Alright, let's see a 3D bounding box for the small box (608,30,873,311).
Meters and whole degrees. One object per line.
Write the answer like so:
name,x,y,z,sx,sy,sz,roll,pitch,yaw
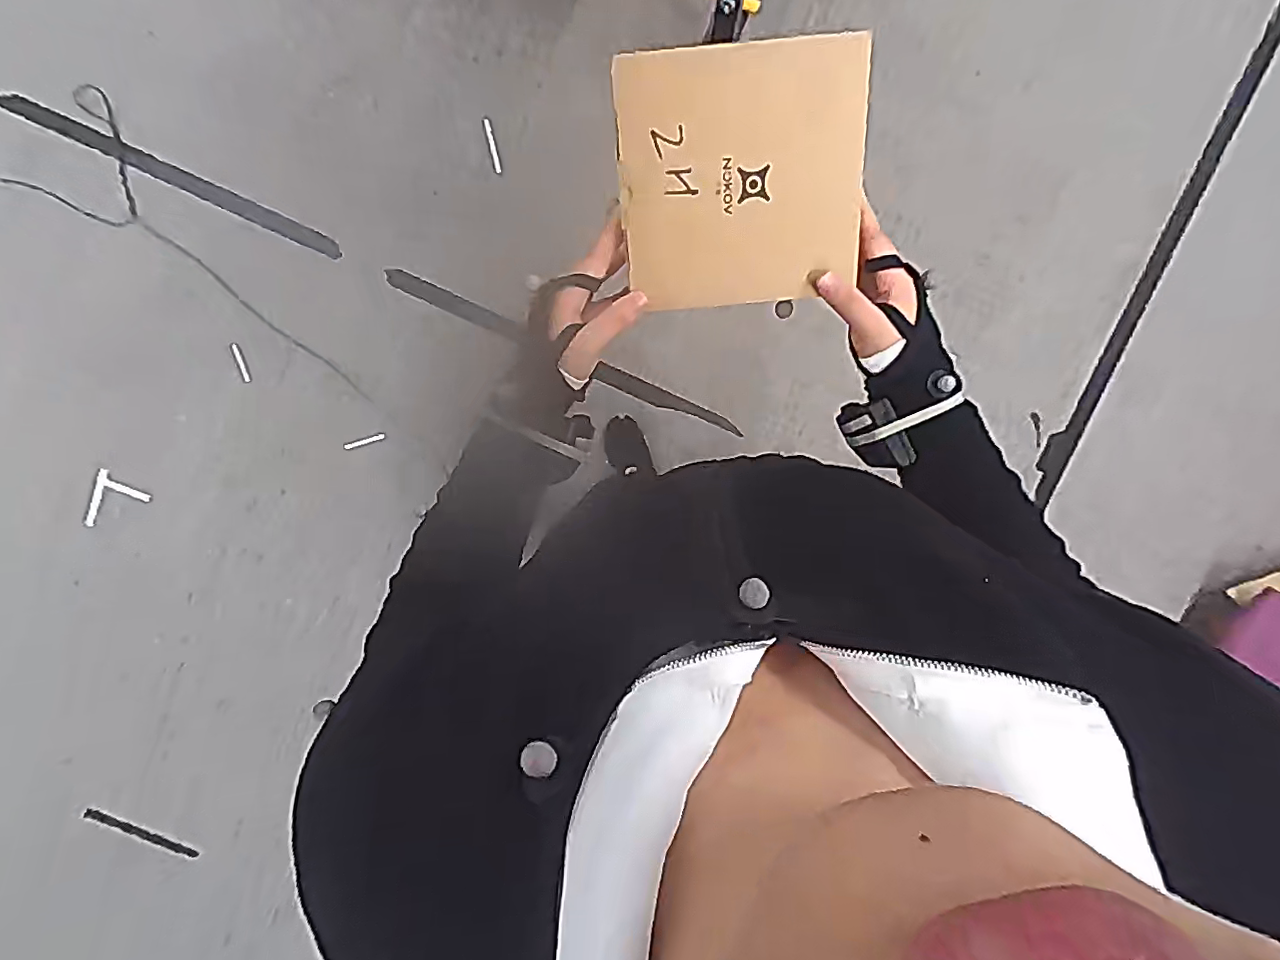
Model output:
small box,0.068,-0.240,0.452,0.179,0.176,0.168,-5,112,1
